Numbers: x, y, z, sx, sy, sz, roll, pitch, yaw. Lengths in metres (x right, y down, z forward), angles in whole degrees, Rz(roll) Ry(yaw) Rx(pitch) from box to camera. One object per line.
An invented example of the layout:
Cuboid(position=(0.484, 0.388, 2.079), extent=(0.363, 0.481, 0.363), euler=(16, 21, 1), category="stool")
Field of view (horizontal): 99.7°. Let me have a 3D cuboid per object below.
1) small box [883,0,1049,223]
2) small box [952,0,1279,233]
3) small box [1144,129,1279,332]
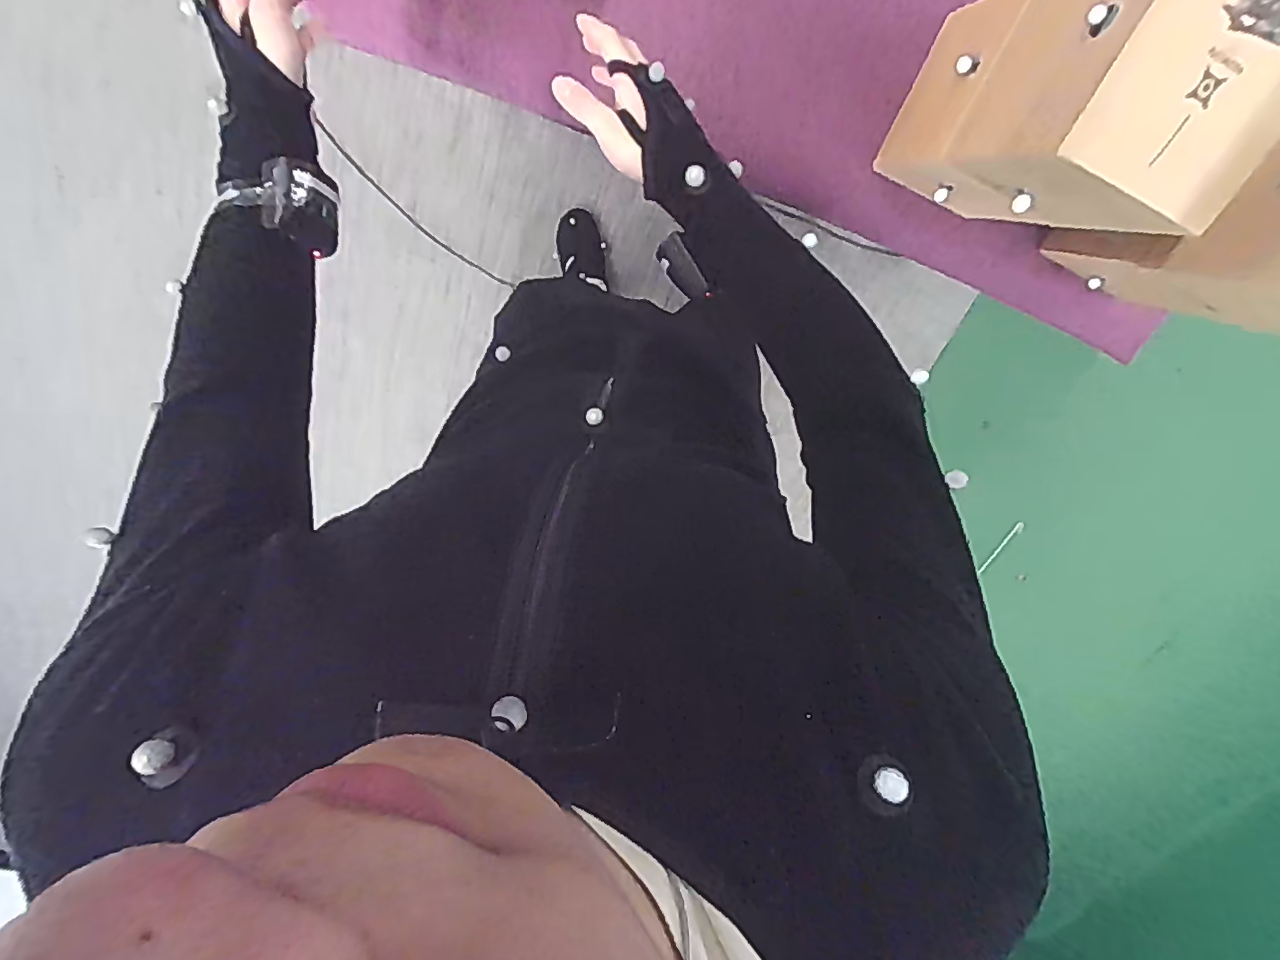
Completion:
Cuboid(position=(0.414, -0.421, 0.624), extent=(0.168, 0.176, 0.179), euler=(18, 115, -13), category="small box")
Cuboid(position=(0.426, -0.344, 0.479), extent=(0.168, 0.176, 0.179), euler=(18, 116, -13), category="small box")
Cuboid(position=(0.687, -0.256, 0.542), extent=(0.168, 0.176, 0.179), euler=(20, 115, -13), category="small box")
